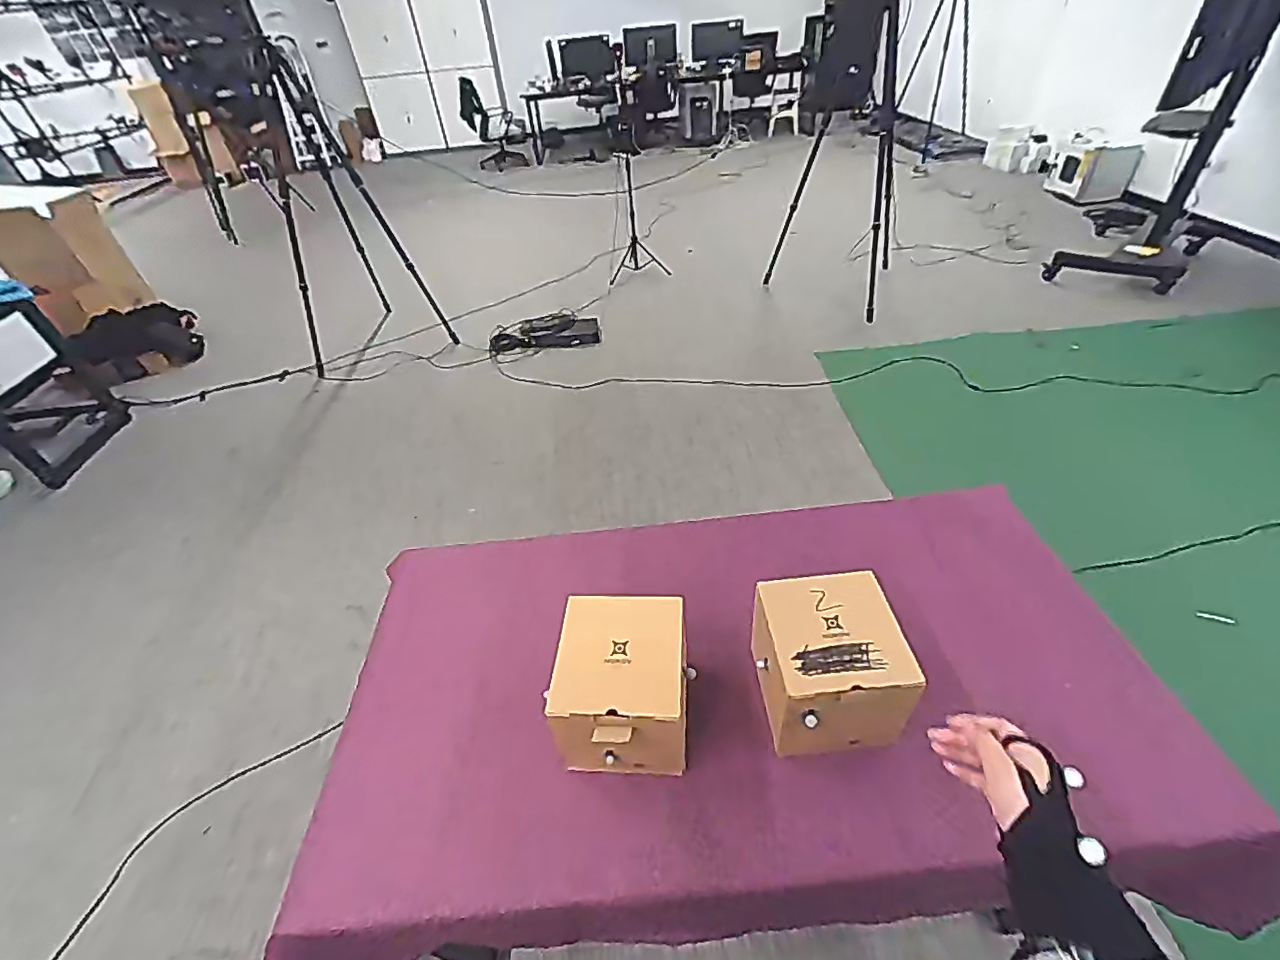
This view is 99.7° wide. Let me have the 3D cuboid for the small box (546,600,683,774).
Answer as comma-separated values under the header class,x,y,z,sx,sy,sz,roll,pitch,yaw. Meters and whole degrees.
class,x,y,z,sx,sy,sz,roll,pitch,yaw
small box,-0.025,0.292,0.772,0.168,0.176,0.179,-1,43,6
